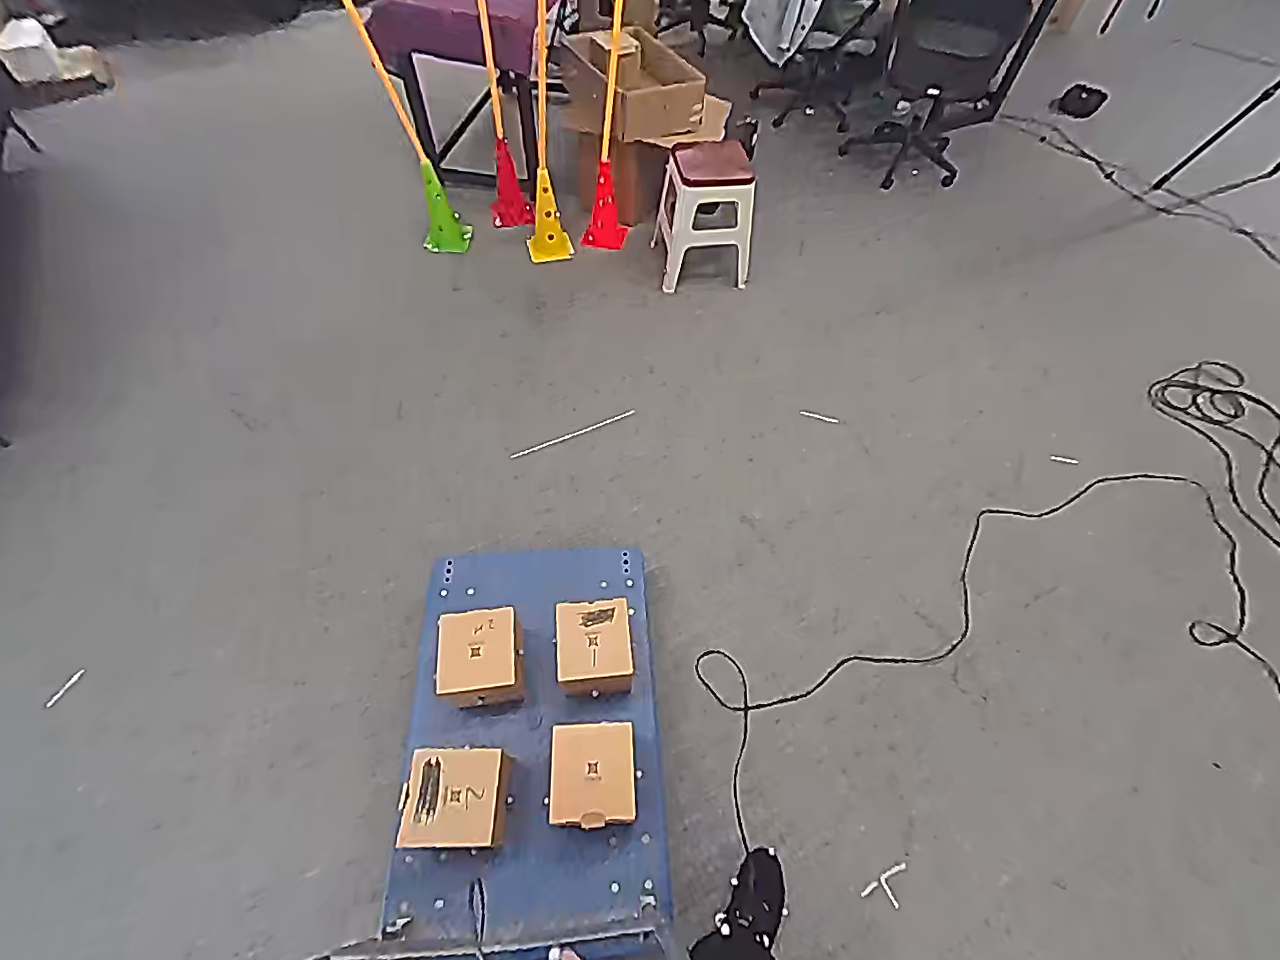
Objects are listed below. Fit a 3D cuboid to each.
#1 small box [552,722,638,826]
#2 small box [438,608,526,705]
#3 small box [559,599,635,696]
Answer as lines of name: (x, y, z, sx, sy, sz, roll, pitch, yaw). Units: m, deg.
small box: (-0.093, 0.620, 1.136, 0.168, 0.176, 0.179, -1, 58, -3)
small box: (-0.359, 0.415, 1.254, 0.168, 0.176, 0.179, -5, 58, -6)
small box: (-0.102, 0.397, 1.275, 0.168, 0.176, 0.179, -4, 58, -4)
